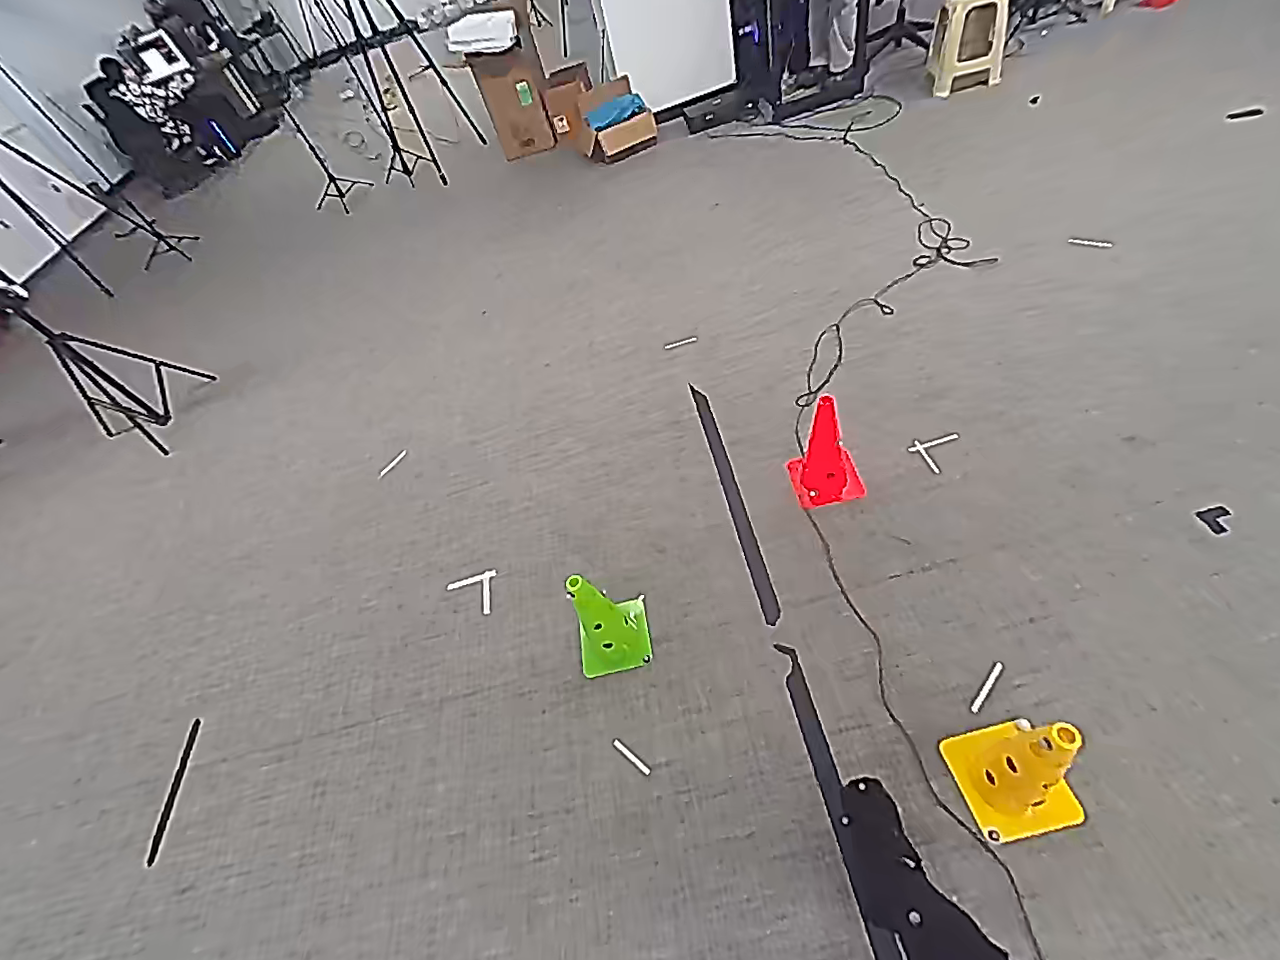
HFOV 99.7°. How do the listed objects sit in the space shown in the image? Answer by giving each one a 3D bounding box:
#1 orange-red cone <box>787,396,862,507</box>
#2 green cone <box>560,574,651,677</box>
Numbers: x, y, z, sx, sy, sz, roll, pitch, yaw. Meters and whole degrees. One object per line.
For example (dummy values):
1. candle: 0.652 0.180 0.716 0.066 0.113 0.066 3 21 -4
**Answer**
1. orange-red cone: 0.538 -0.108 1.576 0.199 0.360 0.198 -12 51 7
2. green cone: -0.121 0.344 1.421 0.202 0.368 0.200 -17 49 6
